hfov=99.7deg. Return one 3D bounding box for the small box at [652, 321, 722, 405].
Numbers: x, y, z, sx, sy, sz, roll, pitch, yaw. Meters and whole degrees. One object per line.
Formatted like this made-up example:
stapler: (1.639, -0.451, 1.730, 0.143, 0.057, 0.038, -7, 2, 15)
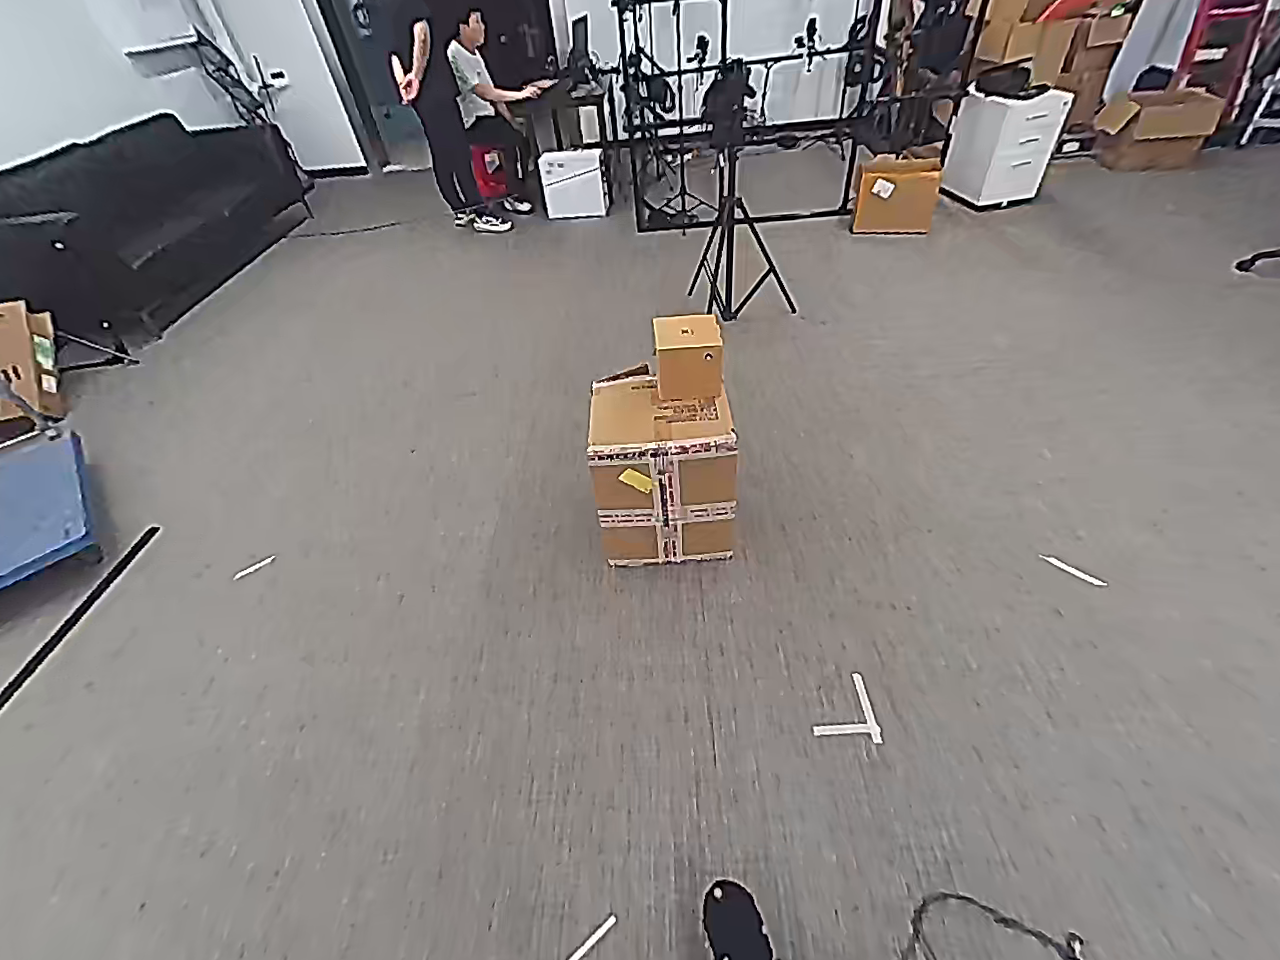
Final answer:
small box: (0.130, -0.325, 1.519, 0.179, 0.176, 0.168, -4, 45, 0)
